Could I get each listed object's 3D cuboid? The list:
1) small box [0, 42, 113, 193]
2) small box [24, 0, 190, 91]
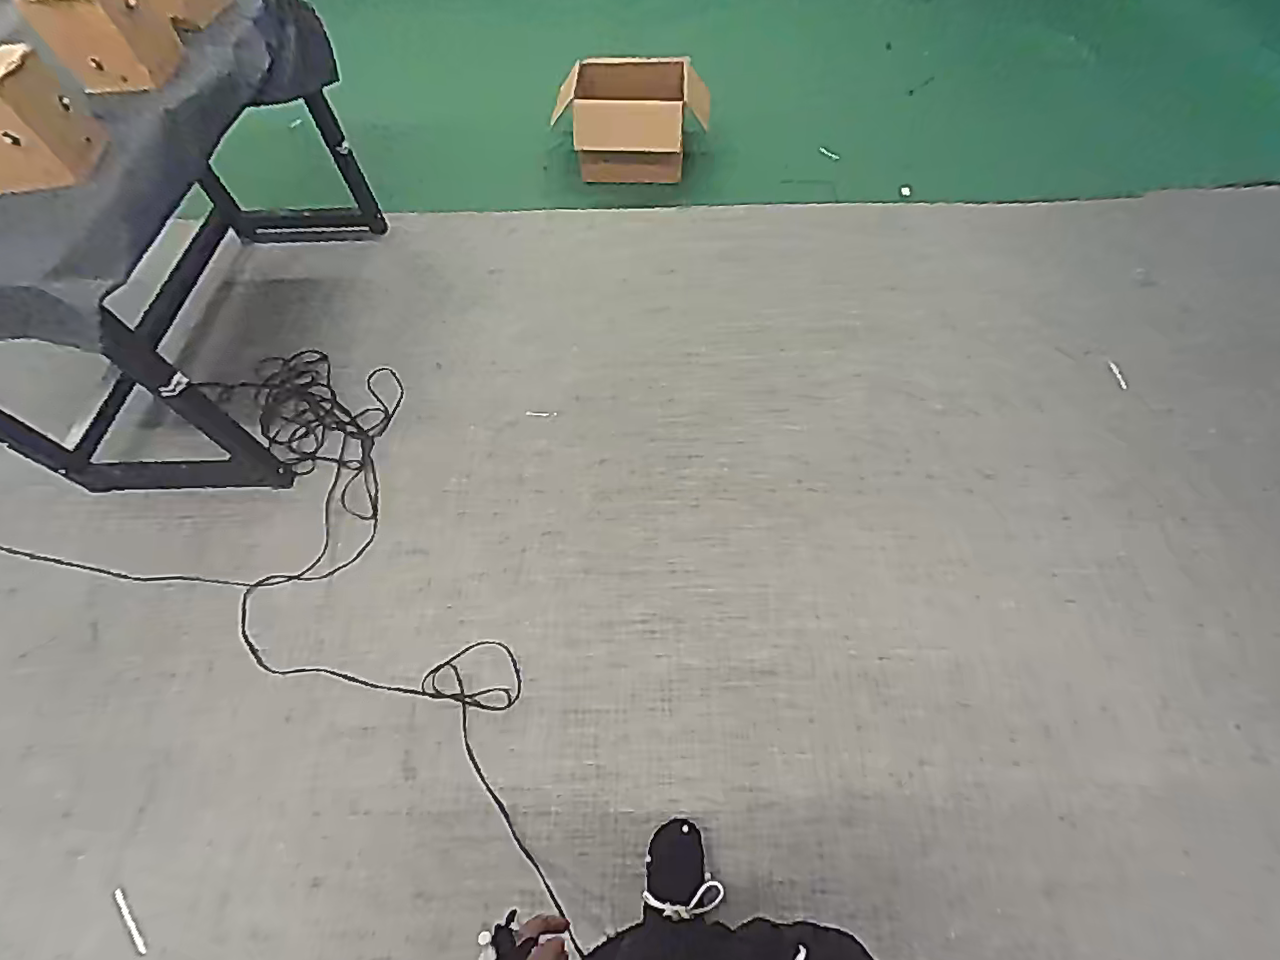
[{"bbox_3d":[-1.141,-0.657,0.989,0.179,0.176,0.168,-10,59,-3],"label":"small box"},{"bbox_3d":[-1.140,-0.982,1.177,0.168,0.176,0.179,-3,61,0],"label":"small box"}]
